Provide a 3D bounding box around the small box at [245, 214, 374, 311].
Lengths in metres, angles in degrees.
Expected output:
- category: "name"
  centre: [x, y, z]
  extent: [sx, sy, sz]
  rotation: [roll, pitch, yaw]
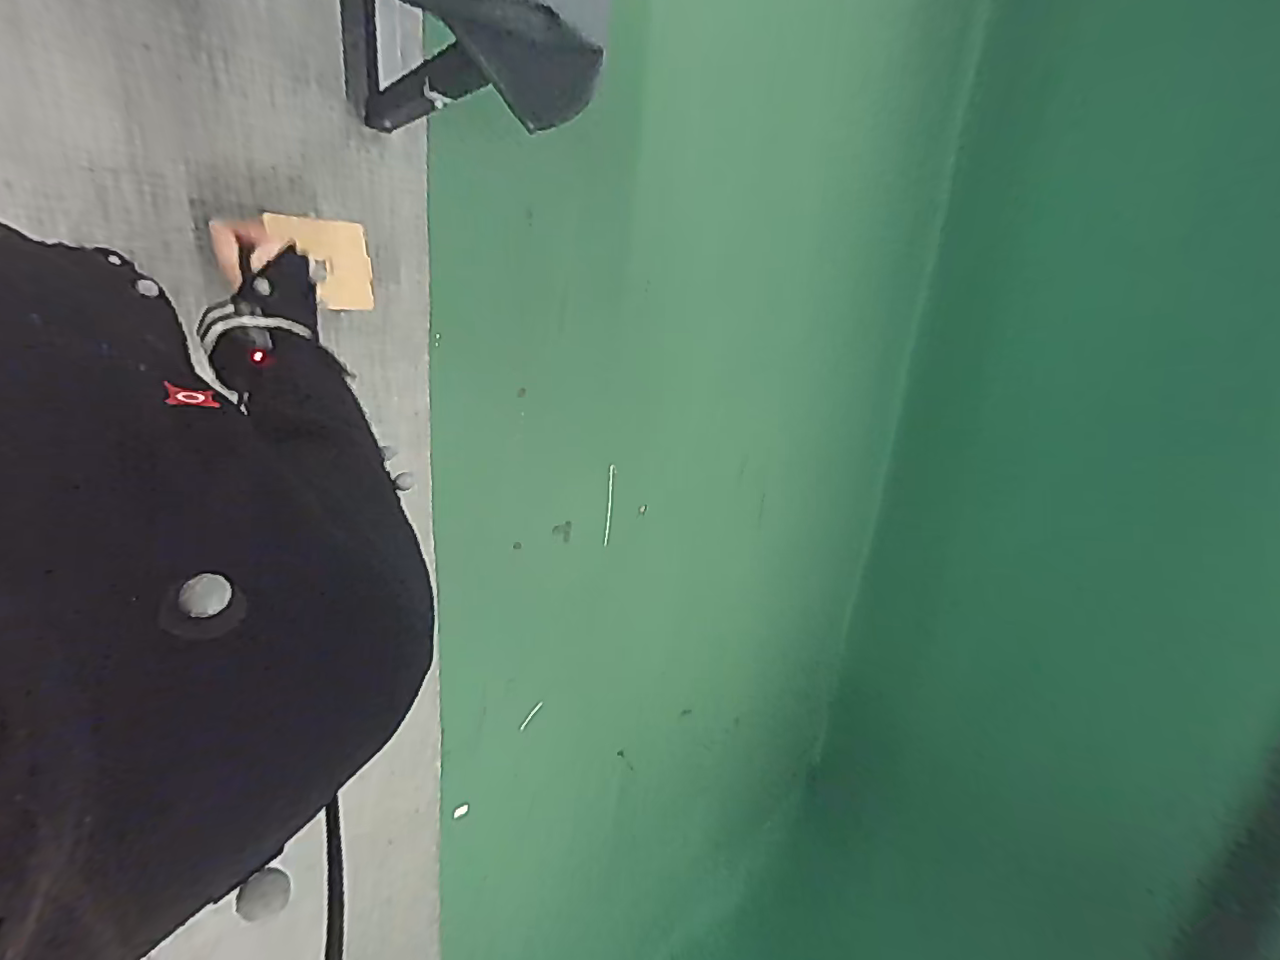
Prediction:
- category: "small box"
  centre: [-0.669, -0.433, 1.098]
  extent: [0.179, 0.176, 0.168]
  rotation: [-16, 114, -41]
